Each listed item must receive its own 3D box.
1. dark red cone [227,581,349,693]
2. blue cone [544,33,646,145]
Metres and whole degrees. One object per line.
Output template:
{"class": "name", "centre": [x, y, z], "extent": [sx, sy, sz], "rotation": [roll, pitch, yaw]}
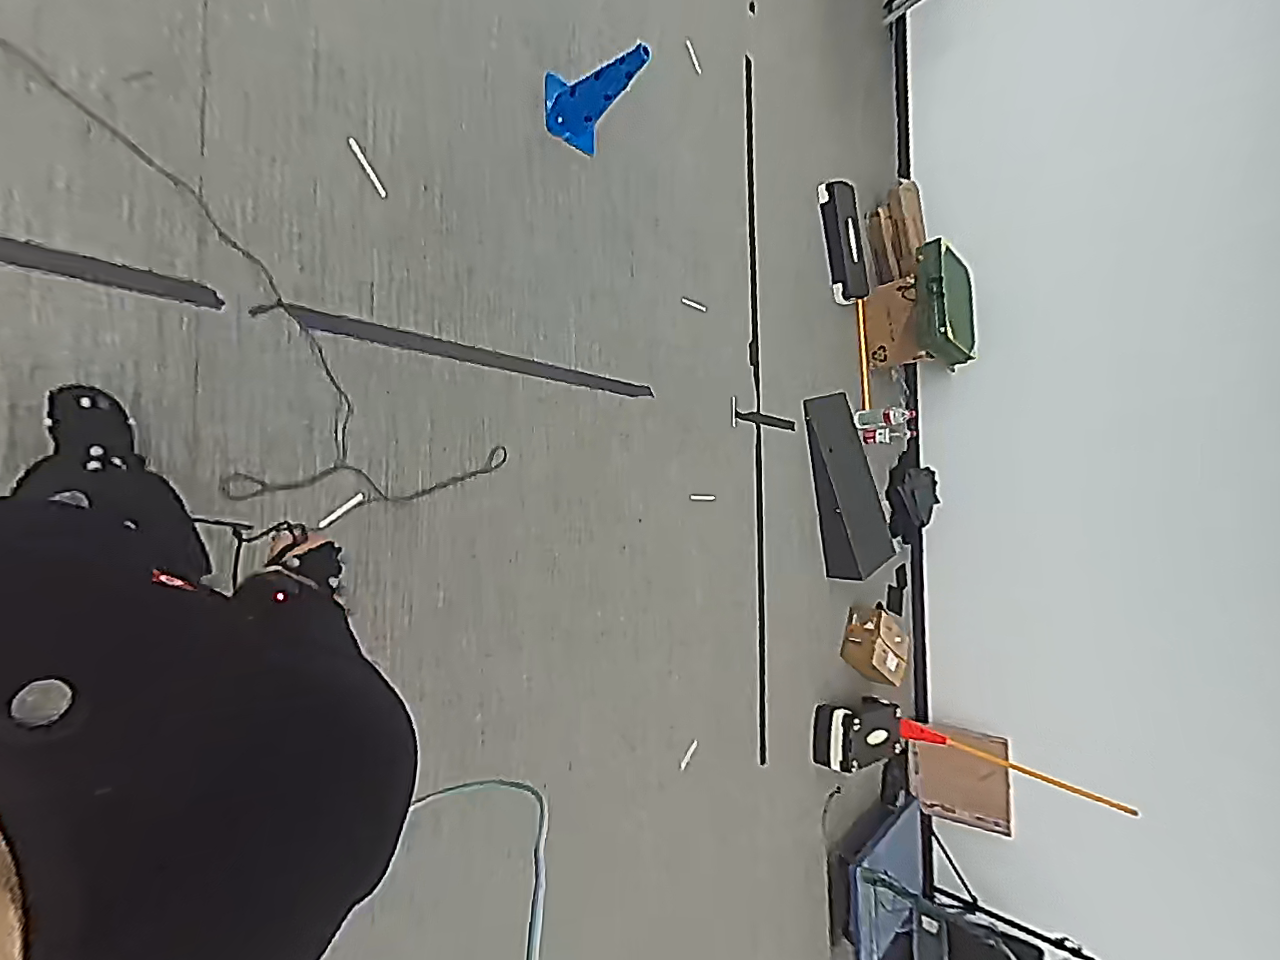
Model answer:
{"class": "dark red cone", "centre": [-0.637, 0.320, 1.039], "extent": [0.202, 0.394, 0.201], "rotation": [-8, 92, -45]}
{"class": "blue cone", "centre": [-0.125, -1.239, 1.677], "extent": [0.193, 0.380, 0.192], "rotation": [4, 84, -45]}
